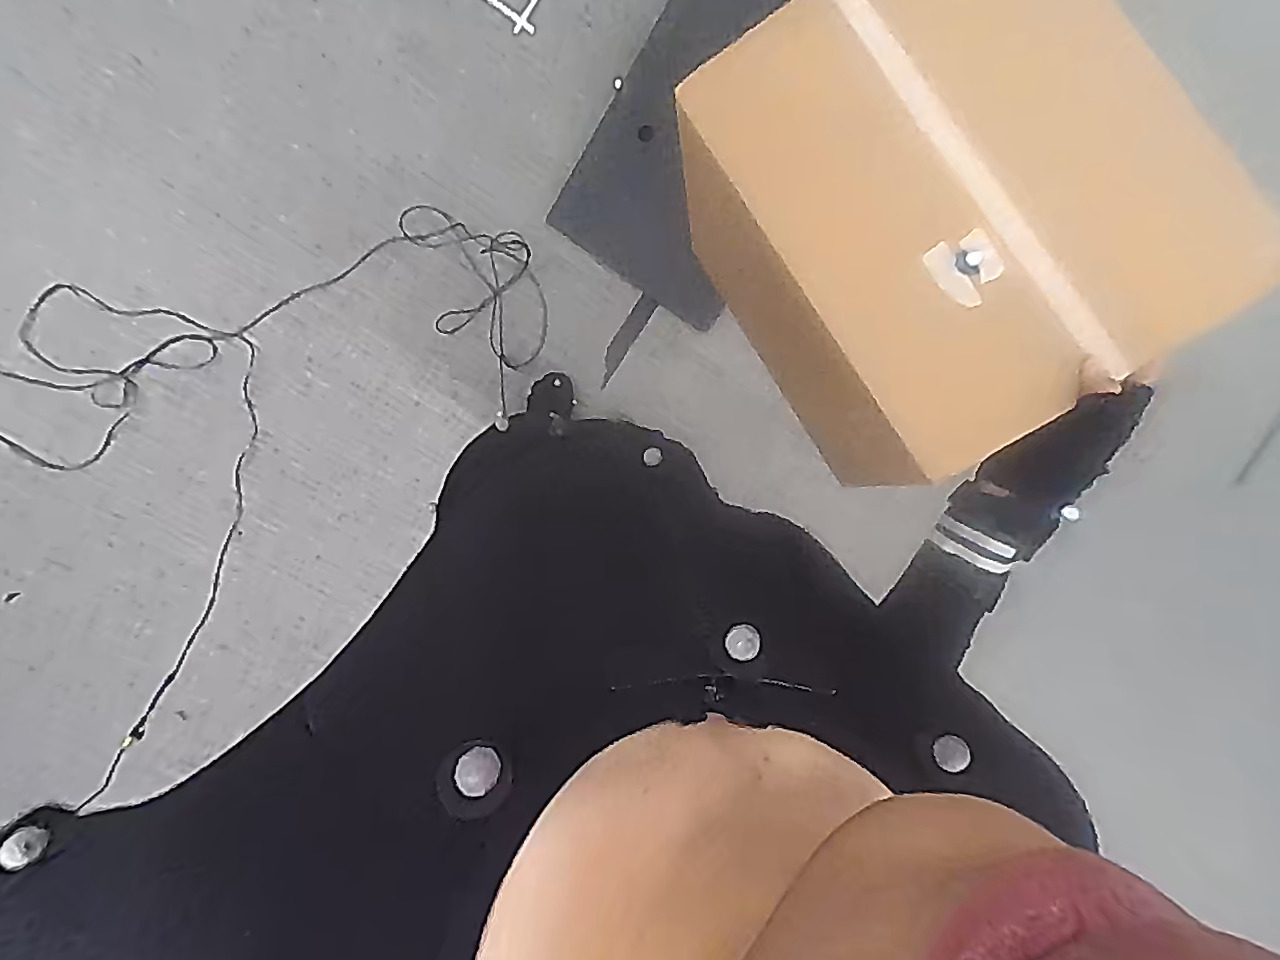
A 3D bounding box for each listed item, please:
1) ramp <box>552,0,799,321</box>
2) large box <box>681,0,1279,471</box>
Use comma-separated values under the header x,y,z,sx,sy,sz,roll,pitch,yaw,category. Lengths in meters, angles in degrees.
x,y,z,sx,sy,sz,roll,pitch,yaw,category
0.251,-0.929,1.260,0.509,0.206,0.991,30,96,-12,ramp
0.282,-0.257,0.595,0.320,0.320,0.408,-32,86,7,large box
